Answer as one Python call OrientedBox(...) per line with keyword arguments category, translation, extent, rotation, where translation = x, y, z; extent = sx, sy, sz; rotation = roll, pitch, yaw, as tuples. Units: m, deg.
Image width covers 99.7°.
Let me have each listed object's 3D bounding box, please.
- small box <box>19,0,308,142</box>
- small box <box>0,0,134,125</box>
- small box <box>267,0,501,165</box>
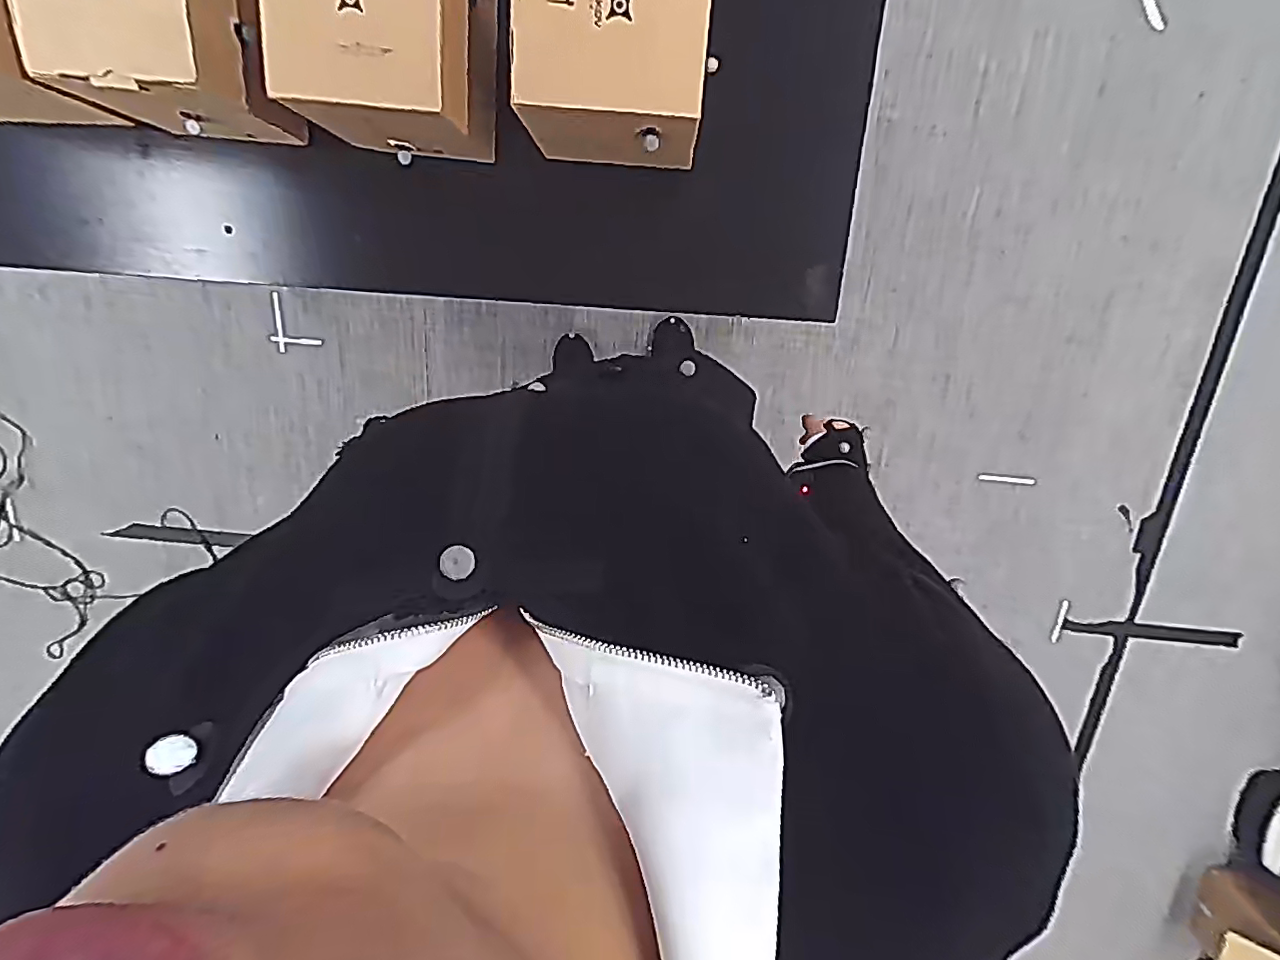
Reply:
OrientedBox(category="small box", translation=(-0.474, -0.473, 0.558), extent=(0.168, 0.176, 0.179), rotation=(5, 106, 1))
OrientedBox(category="small box", translation=(-0.689, -0.489, 0.558), extent=(0.179, 0.176, 0.168), rotation=(2, 106, 0))
OrientedBox(category="small box", translation=(-0.249, -0.453, 0.559), extent=(0.168, 0.176, 0.179), rotation=(5, 107, 1))
